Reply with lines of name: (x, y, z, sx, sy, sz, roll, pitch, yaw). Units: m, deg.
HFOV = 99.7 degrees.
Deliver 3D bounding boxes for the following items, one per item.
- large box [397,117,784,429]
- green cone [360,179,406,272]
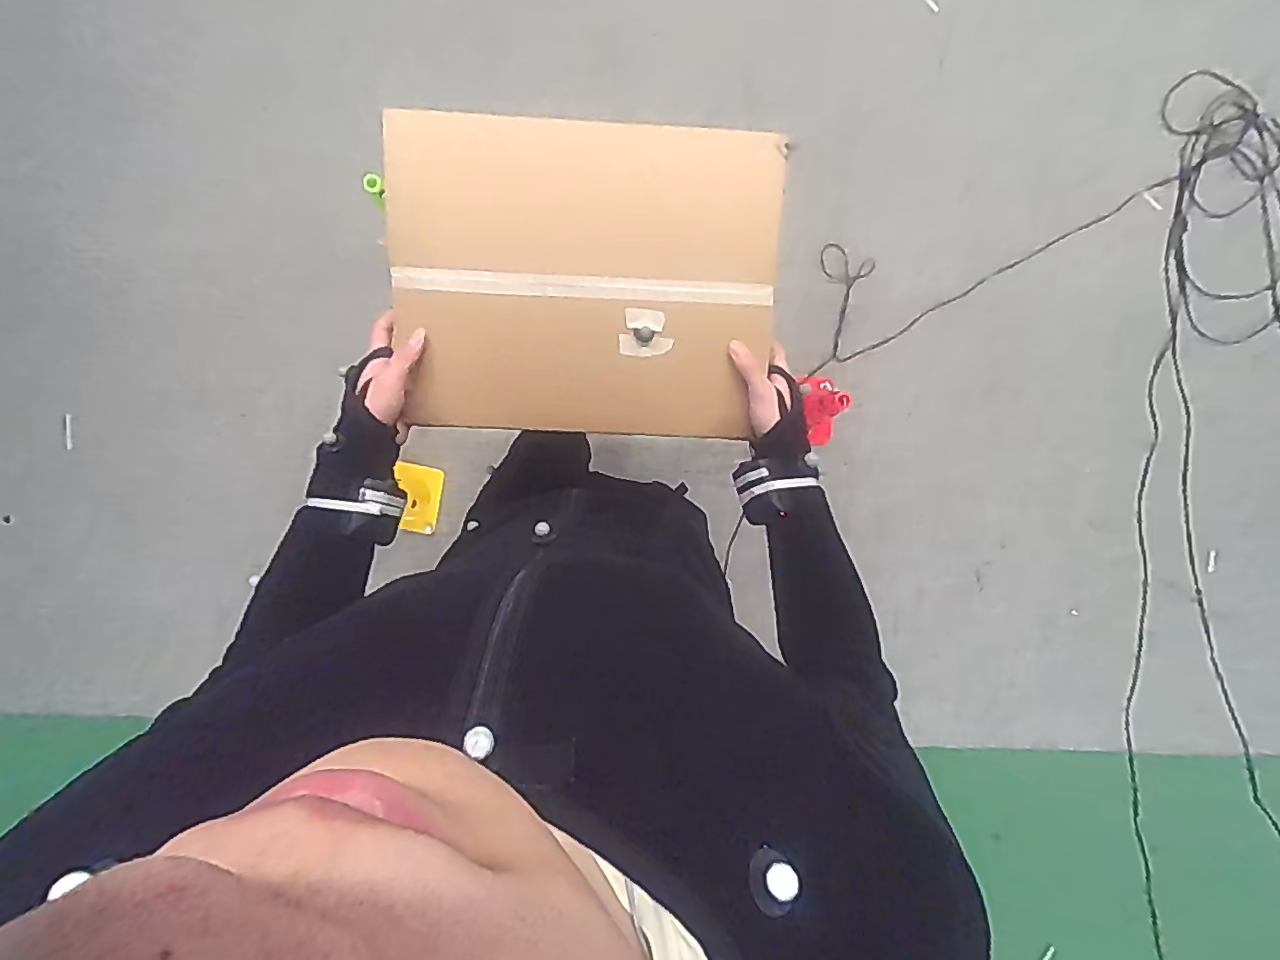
large box: (-0.059, -0.245, 0.729, 0.408, 0.320, 0.320, 2, 104, -3)
green cone: (-0.614, -0.680, 1.392, 0.200, 0.368, 0.202, 8, 95, -1)
